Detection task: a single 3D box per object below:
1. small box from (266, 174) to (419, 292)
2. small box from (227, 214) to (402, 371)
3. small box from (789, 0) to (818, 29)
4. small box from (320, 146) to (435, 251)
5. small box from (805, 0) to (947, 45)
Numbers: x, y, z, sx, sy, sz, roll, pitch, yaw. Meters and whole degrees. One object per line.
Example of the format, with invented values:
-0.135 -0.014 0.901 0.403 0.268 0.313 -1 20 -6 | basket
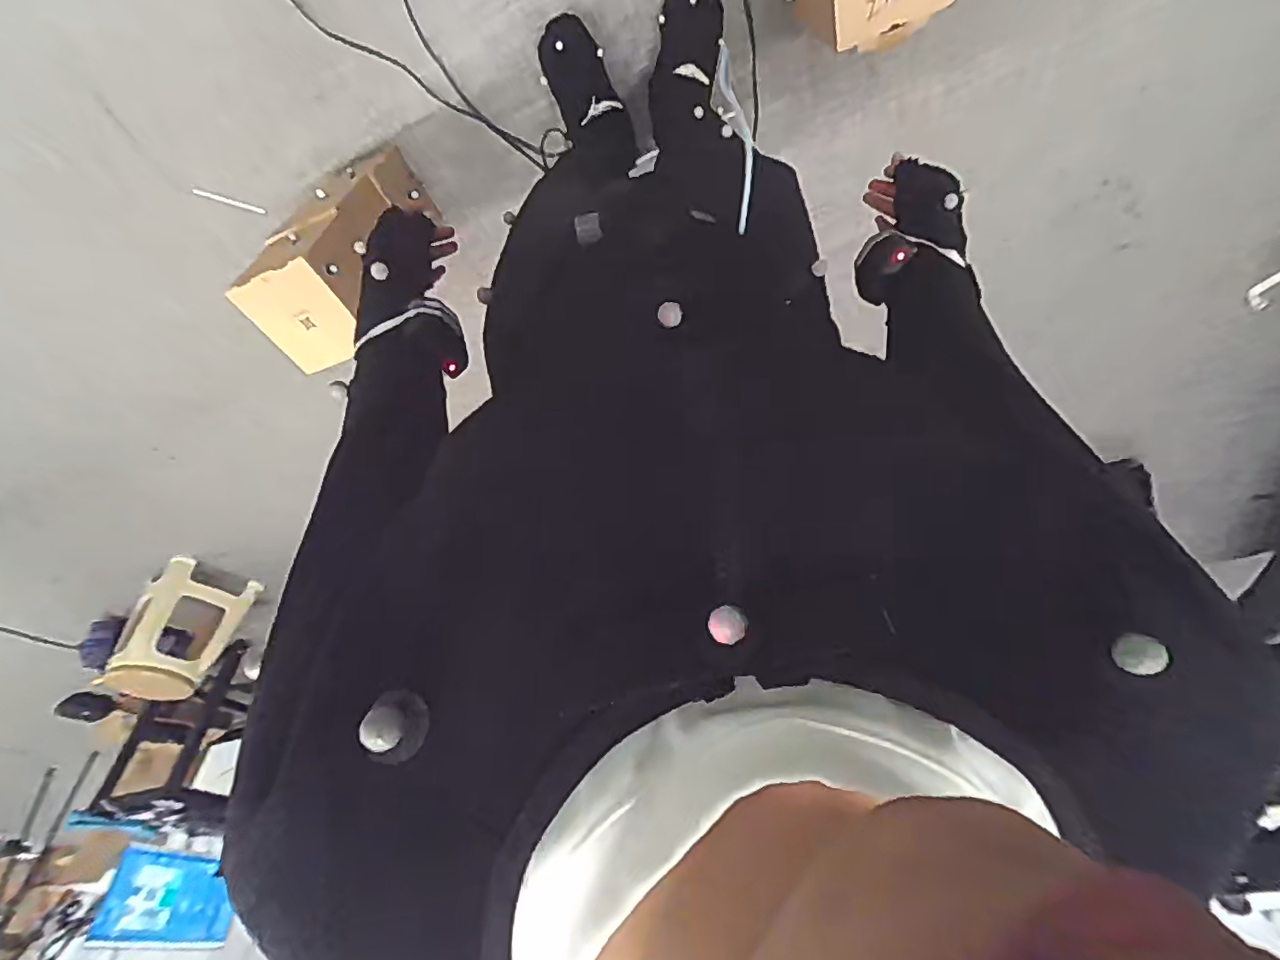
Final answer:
-0.566 -0.457 1.058 0.168 0.176 0.179 -15 136 14 | small box
-0.558 -0.330 0.957 0.168 0.176 0.179 -15 136 15 | small box
0.329 -0.877 0.868 0.168 0.176 0.179 -14 137 11 | small box
-0.565 -0.582 1.166 0.179 0.176 0.168 -16 136 15 | small box
0.331 -0.769 0.767 0.168 0.176 0.179 -15 138 13 | small box
